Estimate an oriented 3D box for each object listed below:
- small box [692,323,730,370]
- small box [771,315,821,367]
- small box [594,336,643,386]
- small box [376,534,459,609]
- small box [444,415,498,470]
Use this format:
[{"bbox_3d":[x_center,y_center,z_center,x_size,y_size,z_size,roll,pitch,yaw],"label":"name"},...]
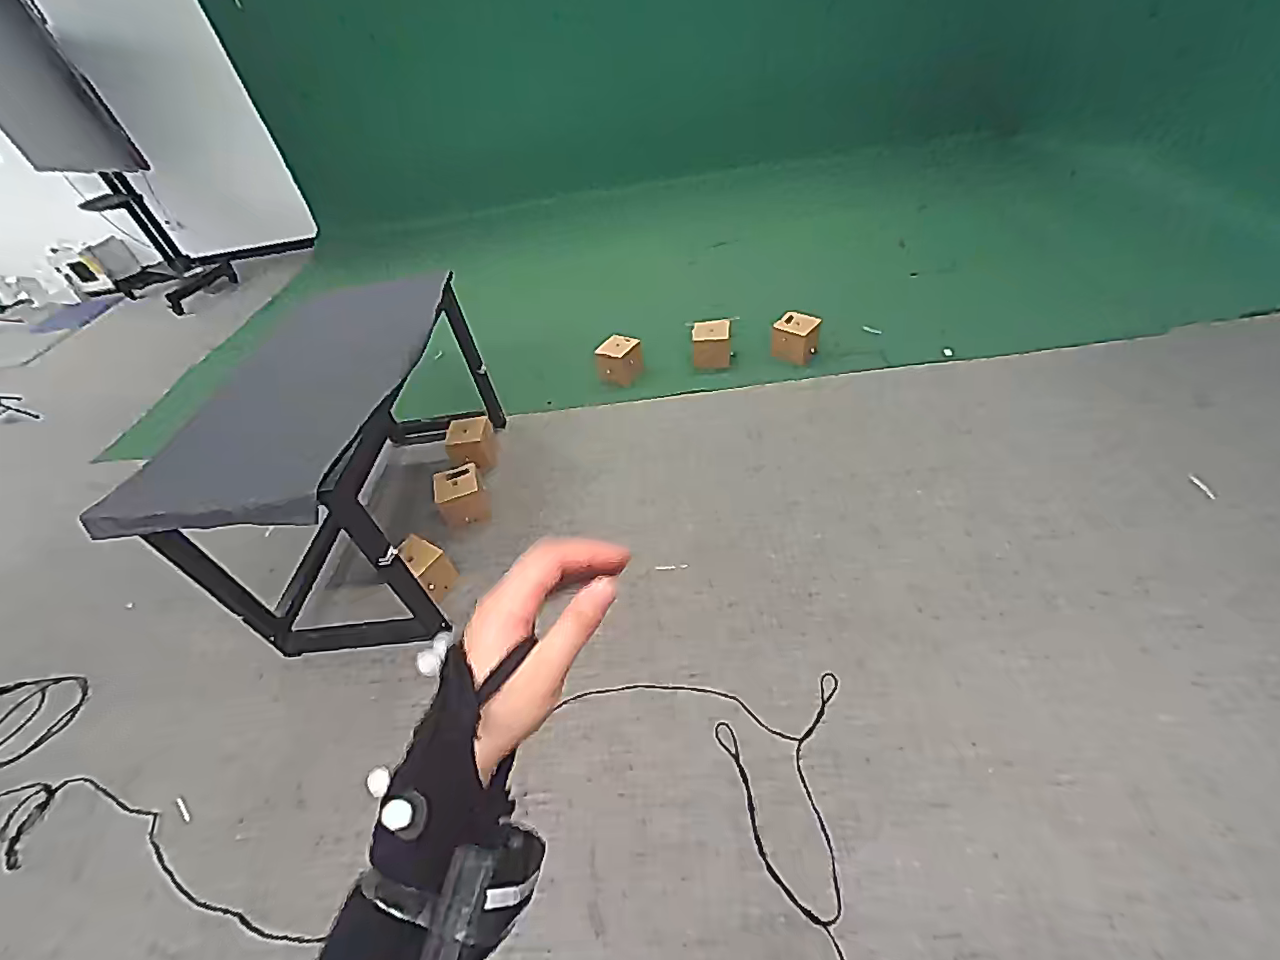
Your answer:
[{"bbox_3d":[0.356,-0.660,2.677,0.179,0.176,0.168,1,46,10],"label":"small box"},{"bbox_3d":[0.749,-0.669,2.607,0.179,0.176,0.168,28,55,32],"label":"small box"},{"bbox_3d":[-0.099,-0.593,2.700,0.168,0.176,0.179,20,52,29],"label":"small box"},{"bbox_3d":[-0.768,0.325,1.889,0.179,0.176,0.168,18,51,28],"label":"small box"},{"bbox_3d":[-0.735,-0.158,2.375,0.168,0.176,0.179,-7,44,3],"label":"small box"}]
